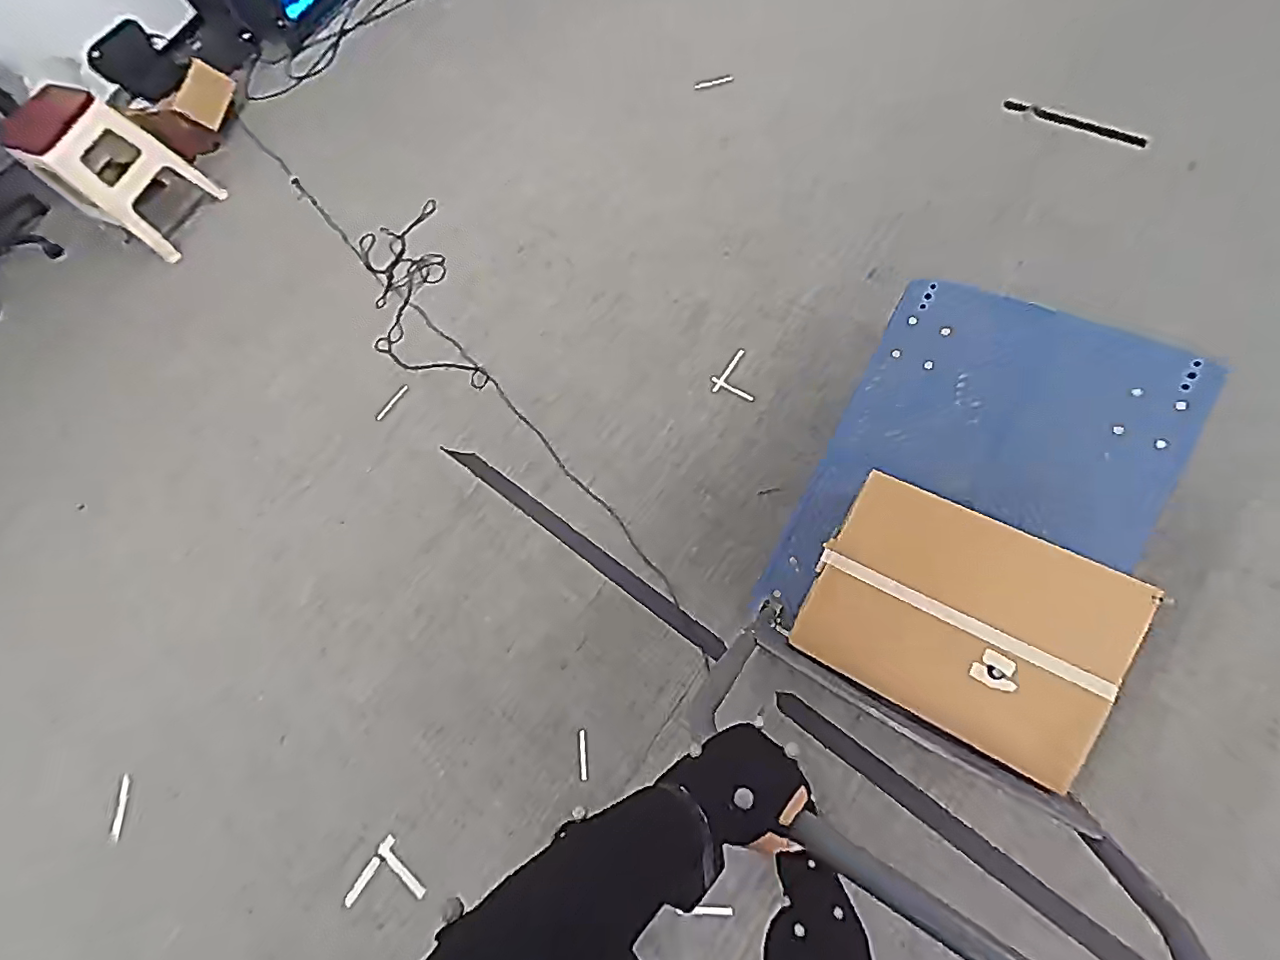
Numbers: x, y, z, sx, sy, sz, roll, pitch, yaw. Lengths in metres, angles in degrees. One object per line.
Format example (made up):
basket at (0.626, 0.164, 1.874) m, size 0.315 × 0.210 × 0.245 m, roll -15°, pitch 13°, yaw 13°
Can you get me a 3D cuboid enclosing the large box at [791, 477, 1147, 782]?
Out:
large box at (0.518, 0.230, 0.956) m, size 0.408 × 0.320 × 0.320 m, roll 26°, pitch 90°, yaw 19°
